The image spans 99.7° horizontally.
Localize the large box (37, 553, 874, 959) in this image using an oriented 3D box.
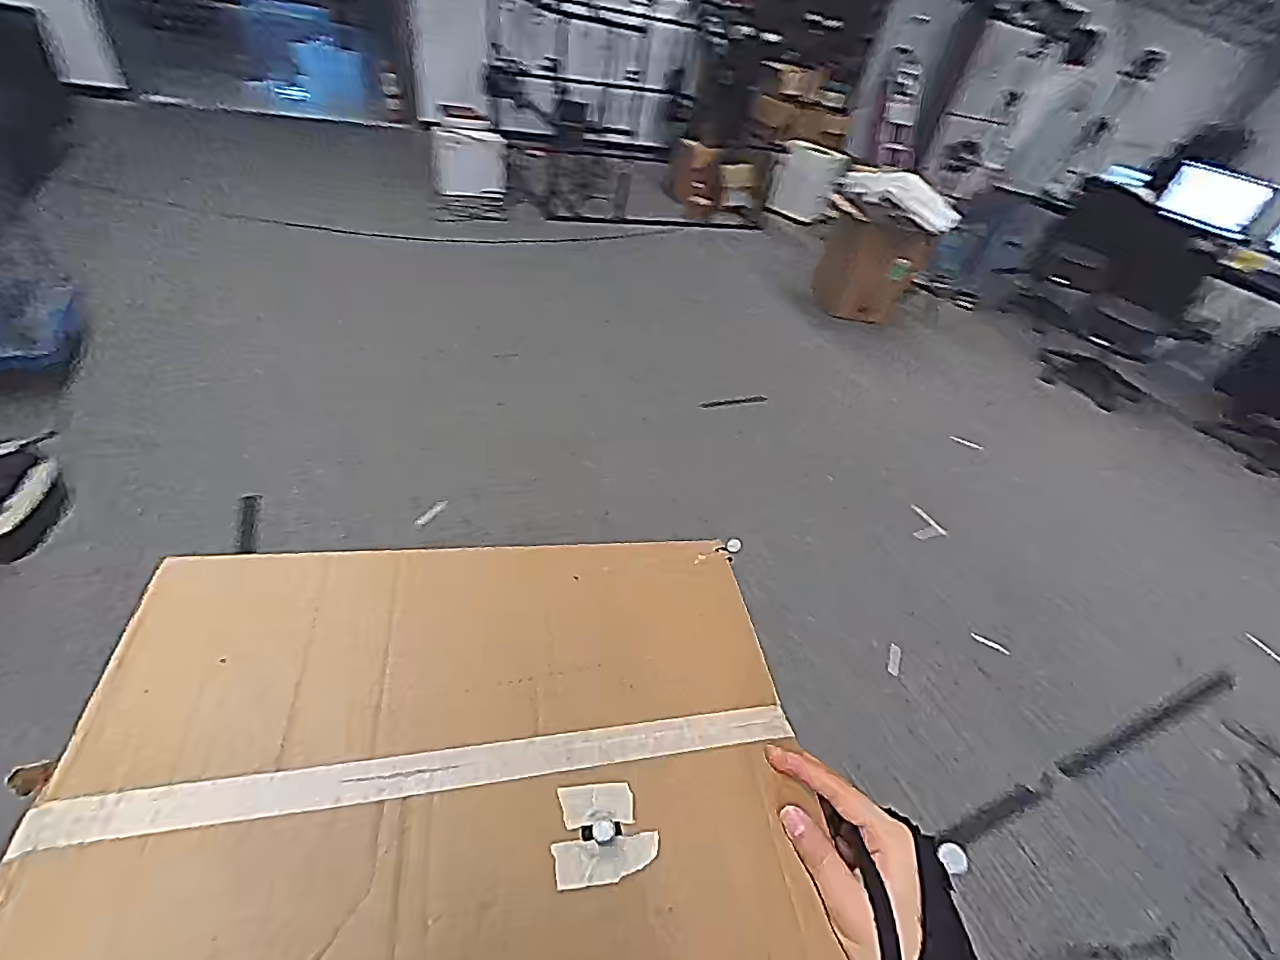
[{"bbox_3d":[-0.116,0.276,0.429,0.408,0.320,0.320,1,48,-16],"label":"large box"}]
